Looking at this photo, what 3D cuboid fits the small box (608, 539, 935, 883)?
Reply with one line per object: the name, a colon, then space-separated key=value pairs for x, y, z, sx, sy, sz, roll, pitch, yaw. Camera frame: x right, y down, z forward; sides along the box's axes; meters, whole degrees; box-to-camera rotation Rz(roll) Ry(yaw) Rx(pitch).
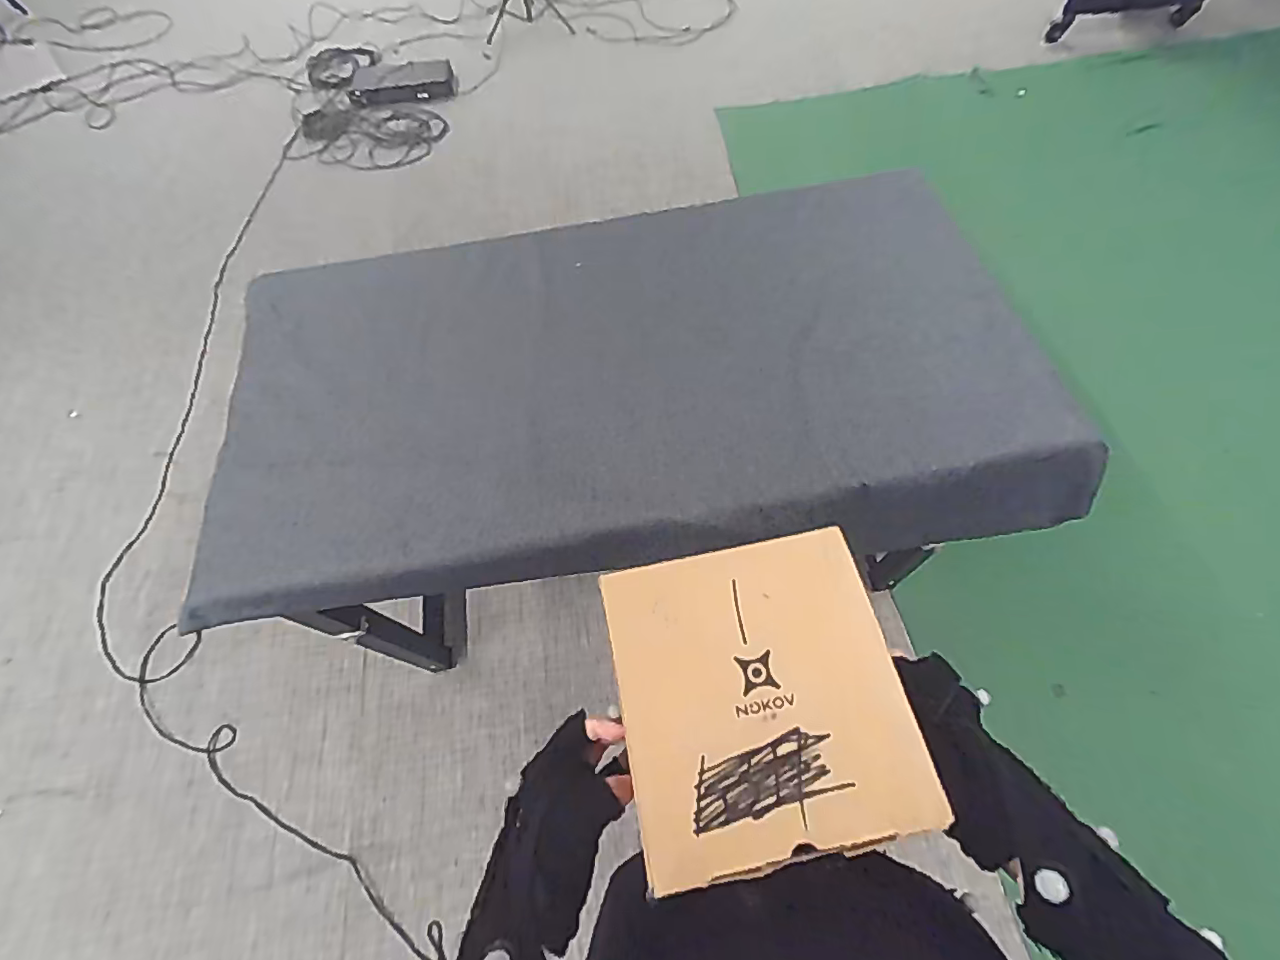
small box: x=0.075 y=0.164 z=0.403 sx=0.168 sy=0.176 sz=0.179 roll=-9 pitch=63 yaw=-2
